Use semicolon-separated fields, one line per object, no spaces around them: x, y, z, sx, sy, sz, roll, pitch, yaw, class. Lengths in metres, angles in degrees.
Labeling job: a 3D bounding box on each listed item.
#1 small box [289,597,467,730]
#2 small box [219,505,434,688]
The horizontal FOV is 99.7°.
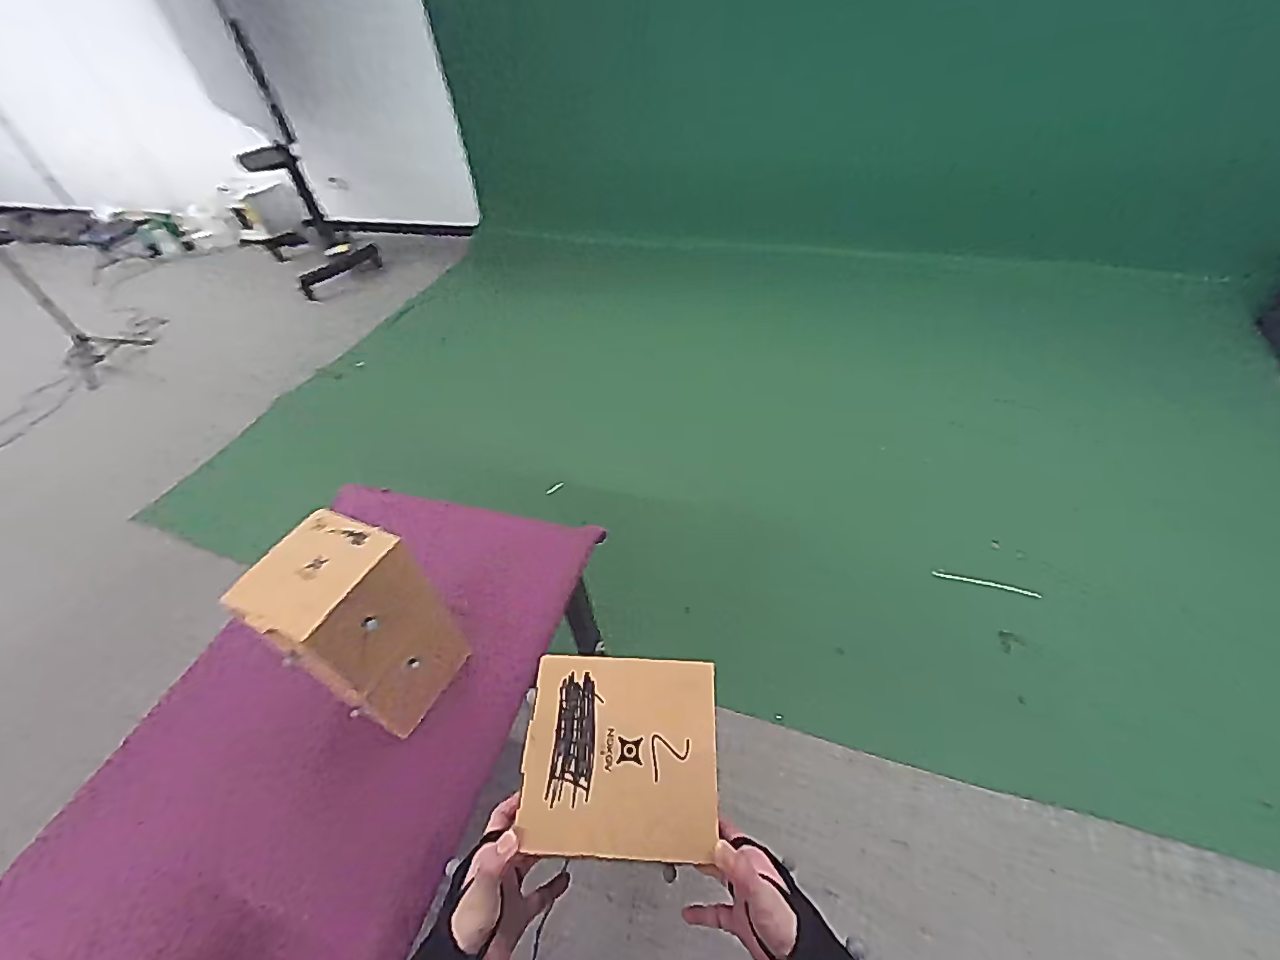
-0.422;0.283;0.903;0.168;0.176;0.179;18;51;23;small box
-0.436;0.171;0.785;0.168;0.176;0.179;16;52;20;small box
